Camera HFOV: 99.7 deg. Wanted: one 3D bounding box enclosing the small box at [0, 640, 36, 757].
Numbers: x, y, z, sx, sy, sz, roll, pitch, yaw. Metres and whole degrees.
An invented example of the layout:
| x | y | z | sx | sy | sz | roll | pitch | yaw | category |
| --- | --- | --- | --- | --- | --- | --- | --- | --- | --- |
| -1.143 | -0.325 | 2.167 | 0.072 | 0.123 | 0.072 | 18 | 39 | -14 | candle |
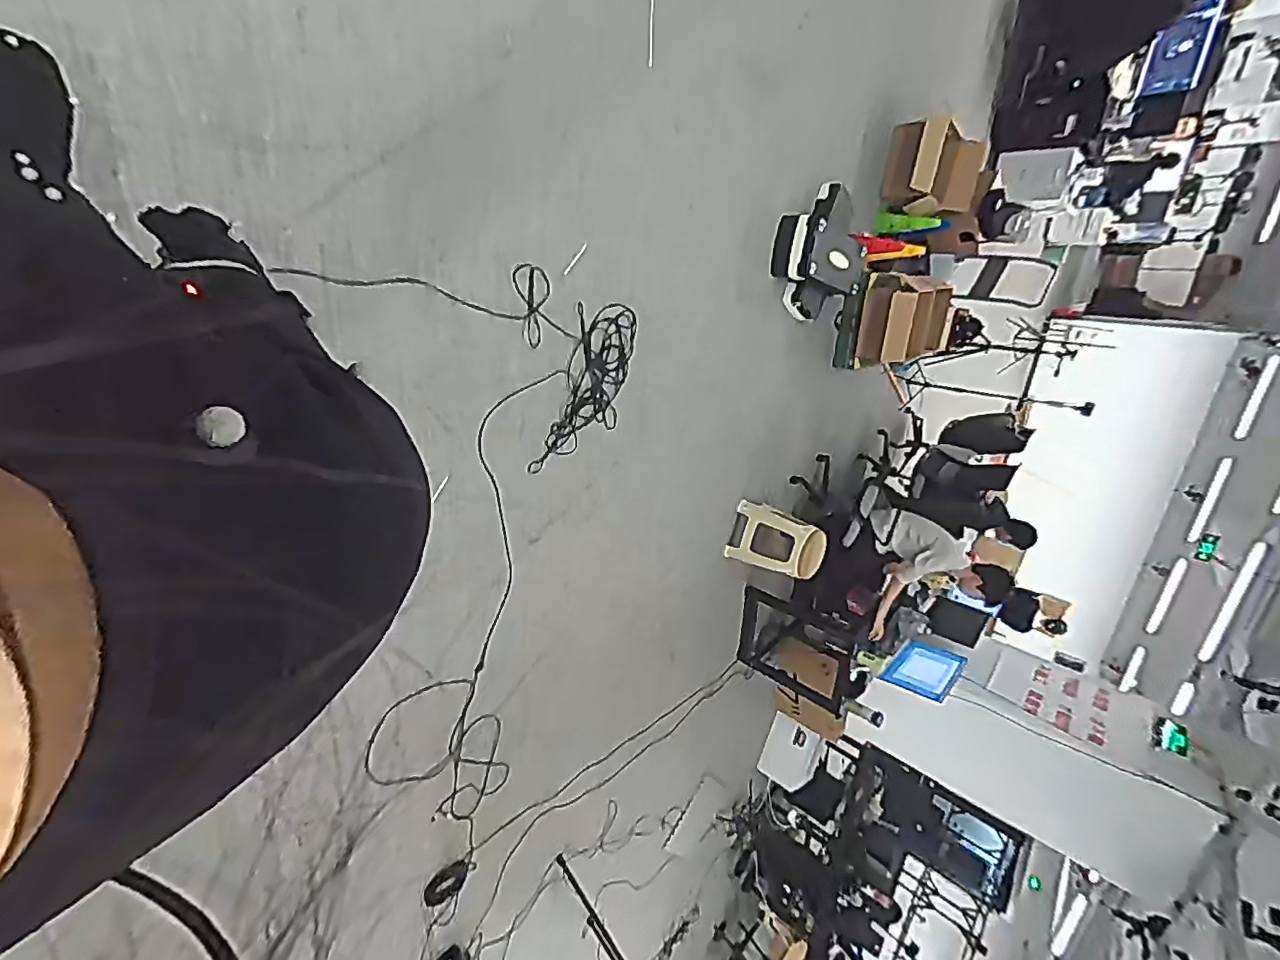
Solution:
| x | y | z | sx | sy | sz | roll | pitch | yaw | category |
| --- | --- | --- | --- | --- | --- | --- | --- | --- | --- |
| -1.243 | 0.411 | 0.978 | 0.168 | 0.176 | 0.179 | -19 | 120 | -44 | small box |
